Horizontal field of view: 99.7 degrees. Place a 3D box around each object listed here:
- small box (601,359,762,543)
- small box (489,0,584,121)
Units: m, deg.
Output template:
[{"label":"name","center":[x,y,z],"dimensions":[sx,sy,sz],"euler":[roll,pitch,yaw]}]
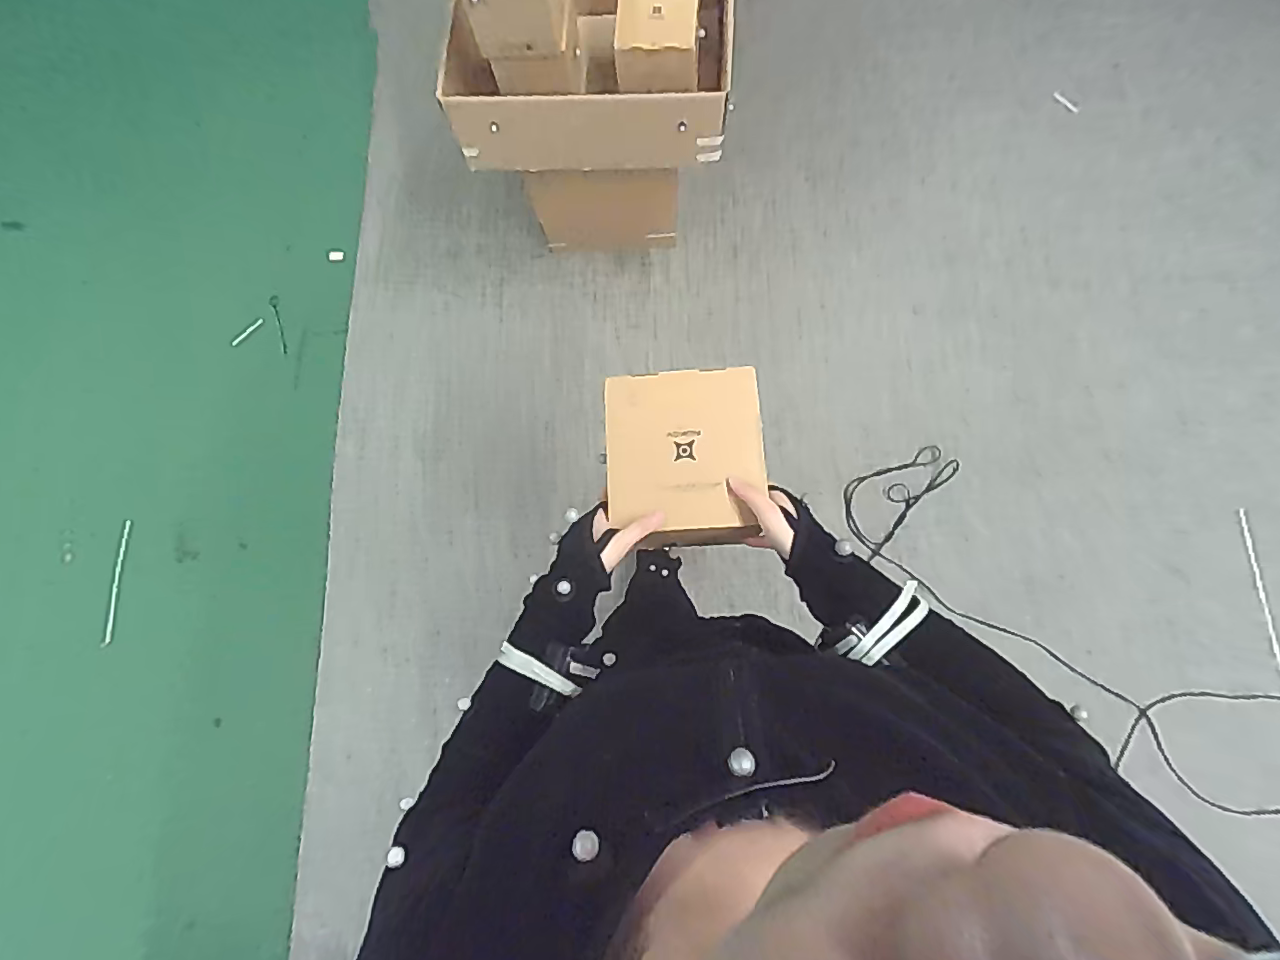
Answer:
[{"label":"small box","center":[0.046,-0.025,0.642],"dimensions":[0.168,0.176,0.179],"euler":[-3,76,4]},{"label":"small box","center":[-0.222,-0.940,1.198],"dimensions":[0.168,0.176,0.179],"euler":[1,79,5]}]
